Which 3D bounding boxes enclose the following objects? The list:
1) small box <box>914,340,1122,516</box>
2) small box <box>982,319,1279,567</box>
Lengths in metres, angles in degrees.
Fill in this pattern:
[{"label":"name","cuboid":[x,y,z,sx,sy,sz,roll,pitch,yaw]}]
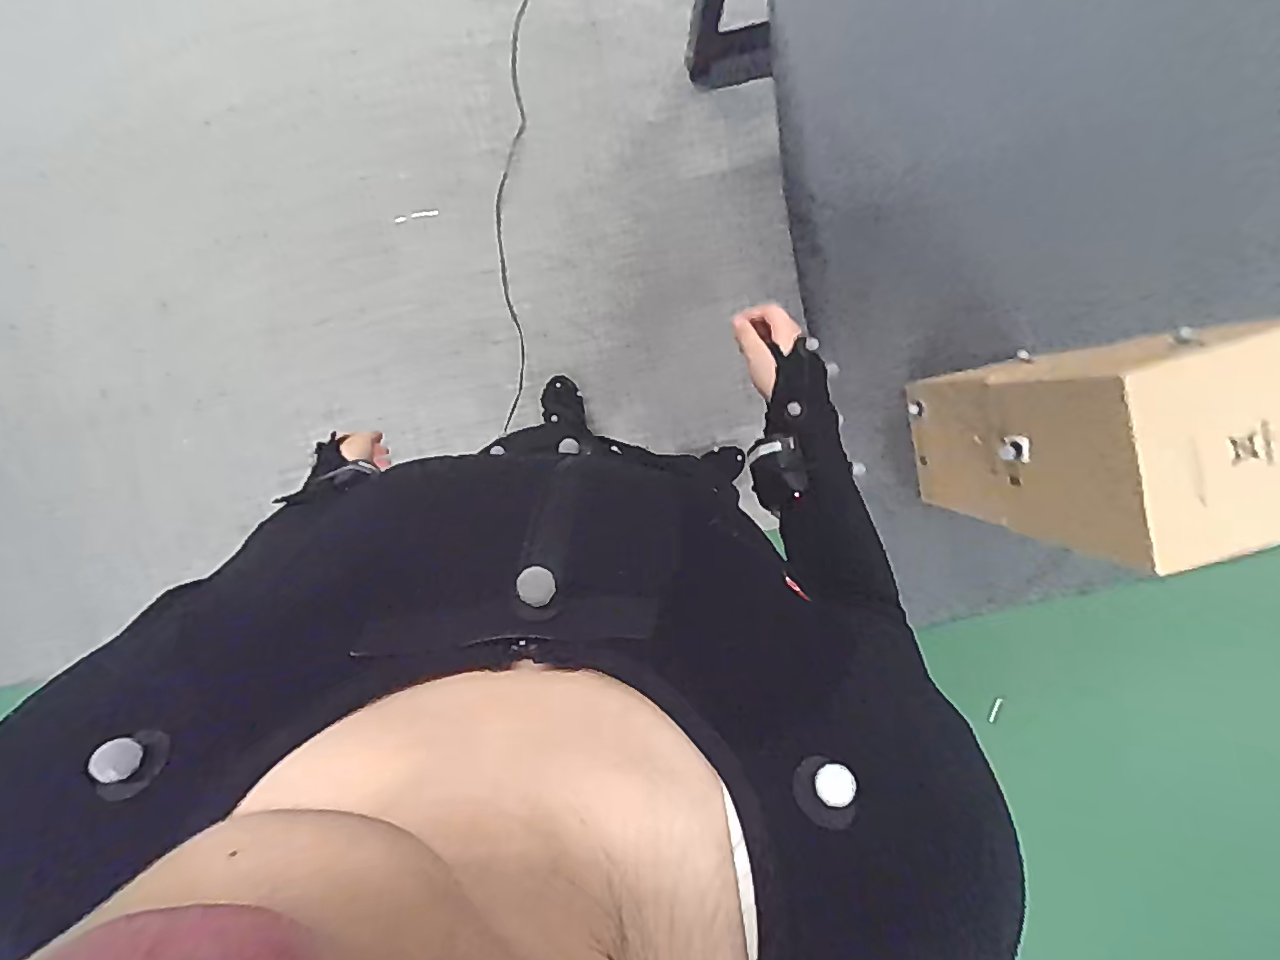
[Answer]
[{"label":"small box","cuboid":[0.459,-0.063,0.658,0.179,0.176,0.168,-13,97,-2]},{"label":"small box","cuboid":[0.462,-0.040,0.496,0.179,0.176,0.168,-16,97,1]}]
